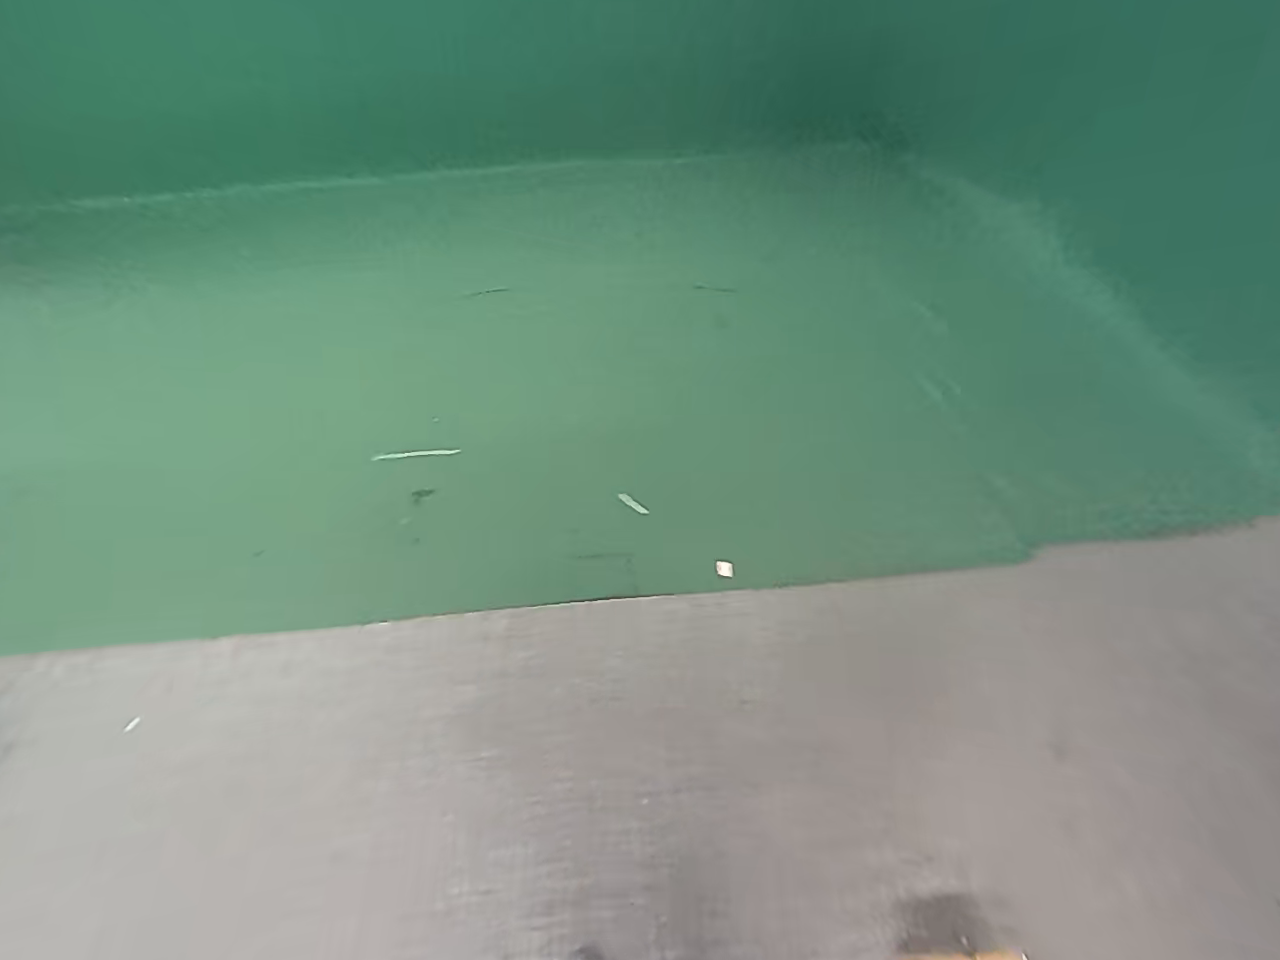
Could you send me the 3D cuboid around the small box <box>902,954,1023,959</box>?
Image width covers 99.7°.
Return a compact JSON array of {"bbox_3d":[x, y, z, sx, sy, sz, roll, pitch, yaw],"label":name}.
[{"bbox_3d":[0.577,0.933,0.929,0.168,0.176,0.179,-3,51,2],"label":"small box"}]
